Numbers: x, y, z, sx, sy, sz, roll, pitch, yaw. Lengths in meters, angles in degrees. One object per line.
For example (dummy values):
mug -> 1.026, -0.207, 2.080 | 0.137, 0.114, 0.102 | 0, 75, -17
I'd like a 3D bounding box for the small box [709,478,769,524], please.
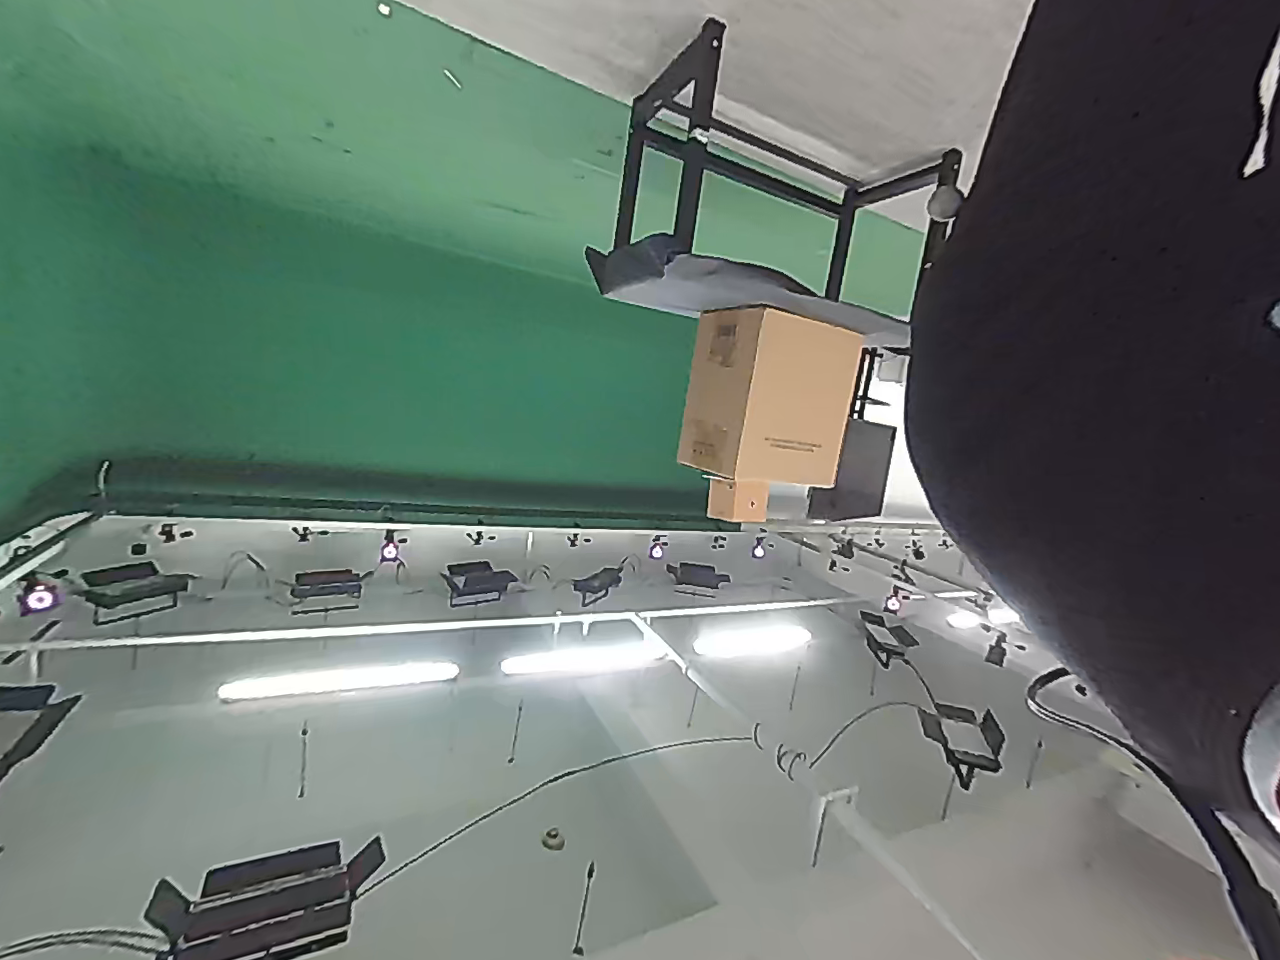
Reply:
small box -> 0.405, 0.085, 2.216 | 0.179, 0.176, 0.168 | 4, -176, -30
